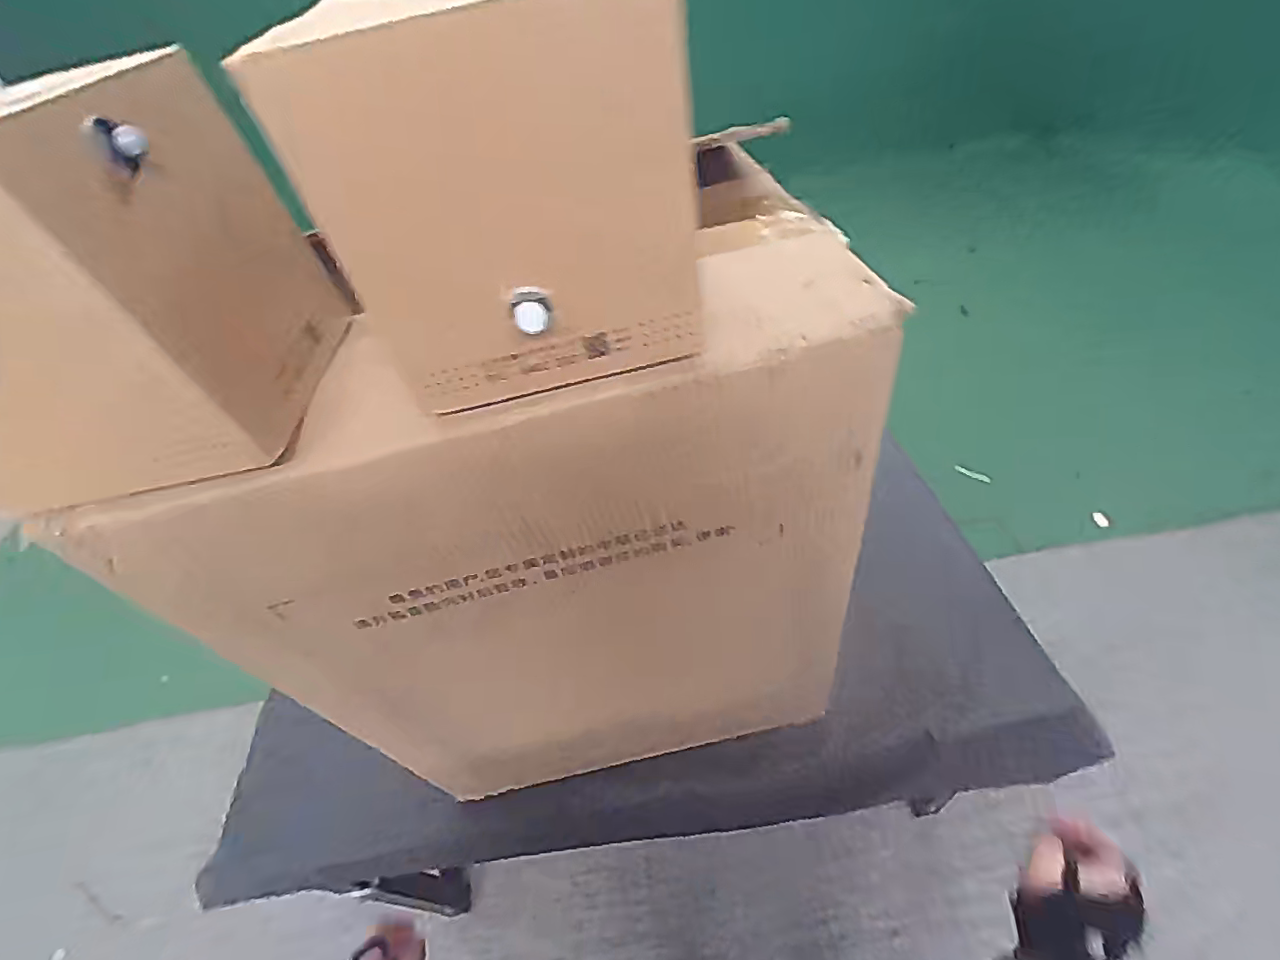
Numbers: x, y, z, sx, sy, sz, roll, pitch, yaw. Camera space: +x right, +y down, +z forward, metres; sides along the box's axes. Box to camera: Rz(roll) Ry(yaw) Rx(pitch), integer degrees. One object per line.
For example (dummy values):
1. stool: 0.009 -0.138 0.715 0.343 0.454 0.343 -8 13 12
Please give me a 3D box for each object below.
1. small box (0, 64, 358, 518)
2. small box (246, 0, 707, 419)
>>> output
1. small box: -0.304 -0.098 0.306 0.179 0.176 0.168 -12 47 4
2. small box: -0.063 -0.162 0.308 0.168 0.176 0.179 -13 47 0
